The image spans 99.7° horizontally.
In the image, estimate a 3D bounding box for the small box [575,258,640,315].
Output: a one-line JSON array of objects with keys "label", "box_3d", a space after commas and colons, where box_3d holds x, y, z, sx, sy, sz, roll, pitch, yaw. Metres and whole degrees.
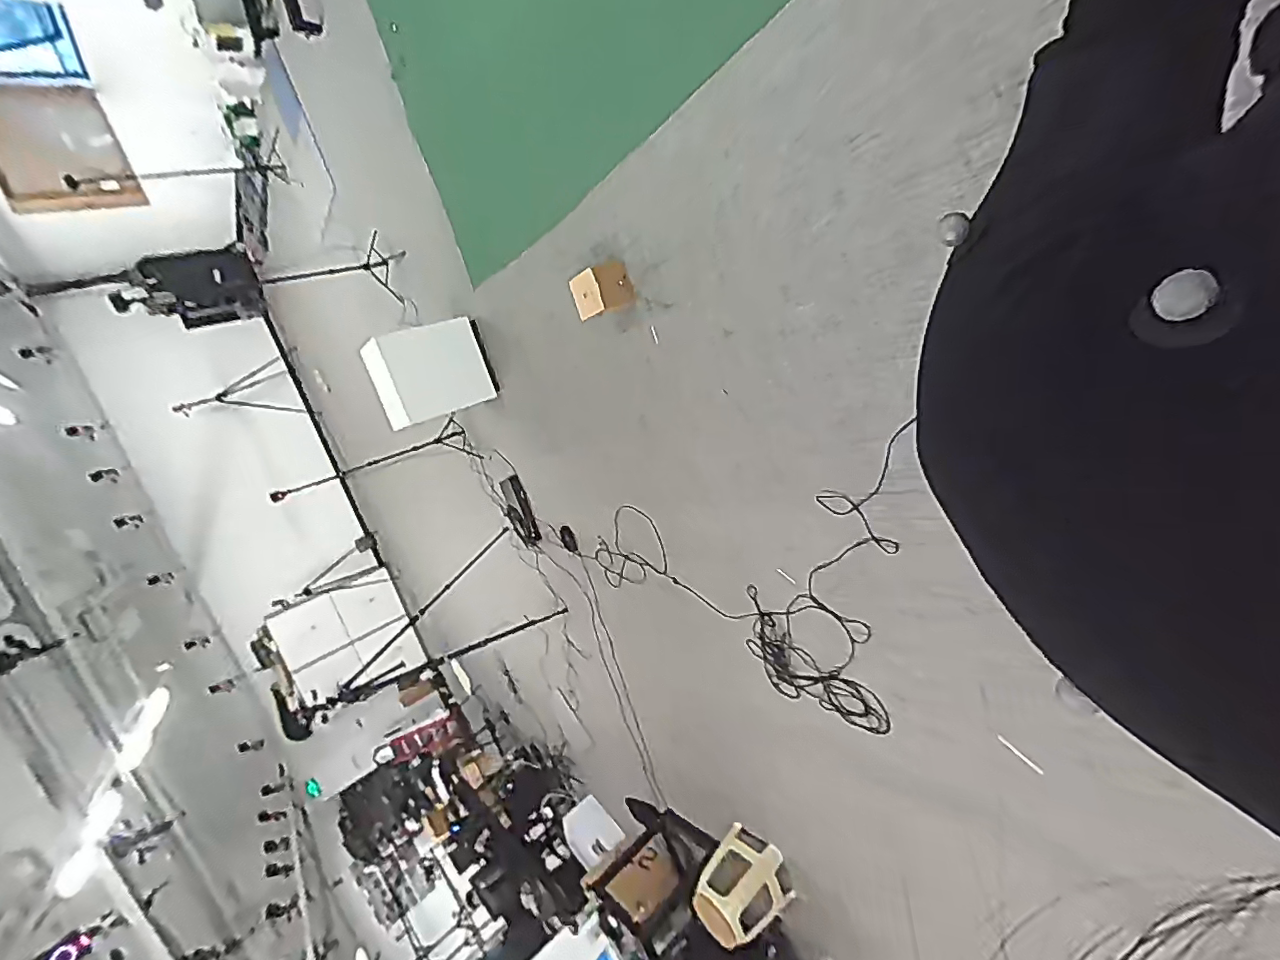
[{"label": "small box", "box_3d": [-0.129, -0.784, 2.189, 0.179, 0.176, 0.168, -3, 109, 53]}]
